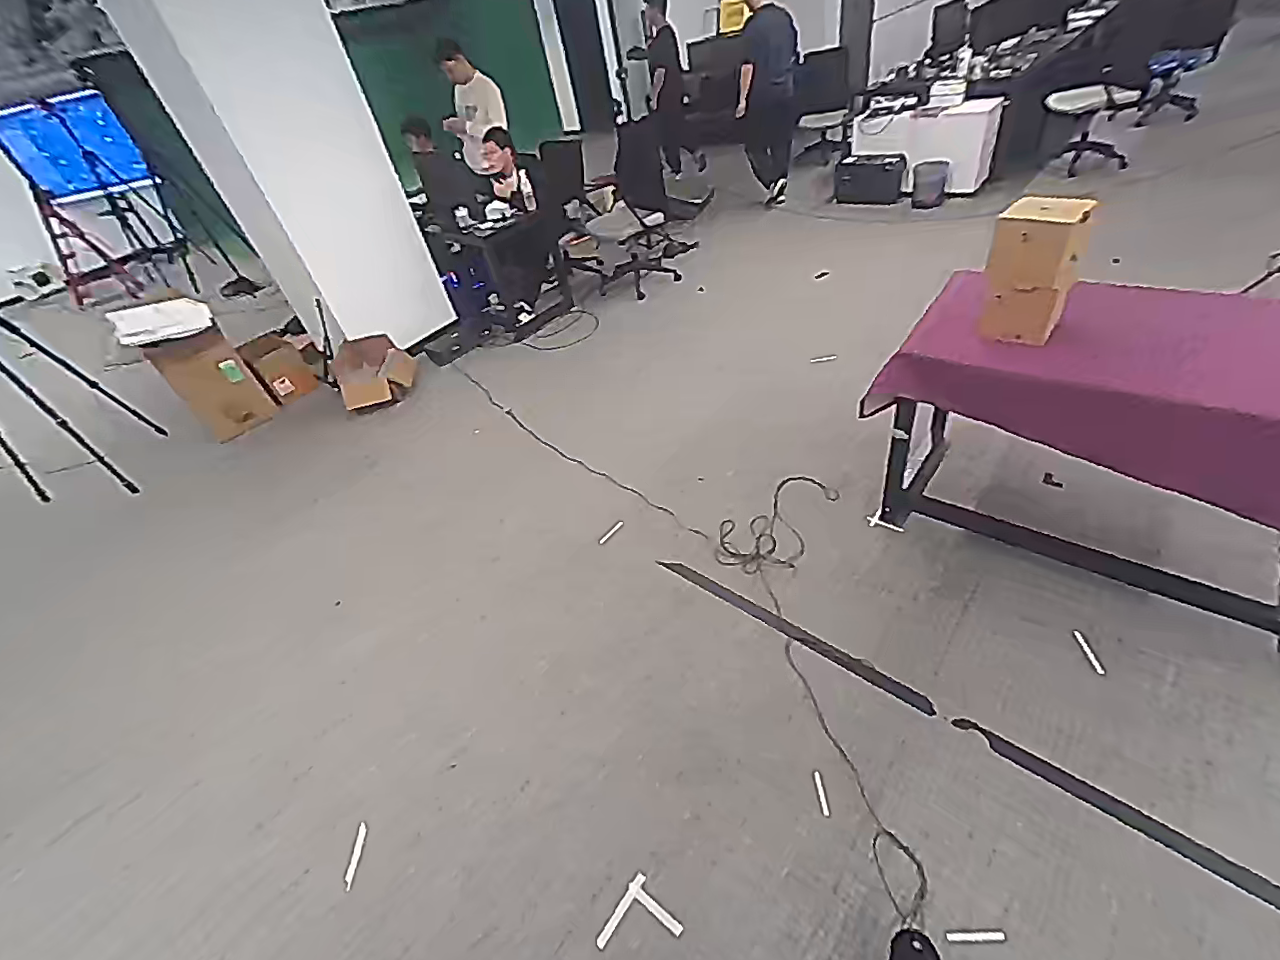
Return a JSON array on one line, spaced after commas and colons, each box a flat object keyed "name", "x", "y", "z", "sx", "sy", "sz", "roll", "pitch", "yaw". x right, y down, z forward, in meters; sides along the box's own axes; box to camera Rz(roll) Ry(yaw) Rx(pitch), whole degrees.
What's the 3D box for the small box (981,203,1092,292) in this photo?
[{"name": "small box", "x": 1.052, "y": -0.624, "z": 1.450, "sx": 0.168, "sy": 0.176, "sz": 0.179, "roll": -37, "pitch": 46, "yaw": -25}]
